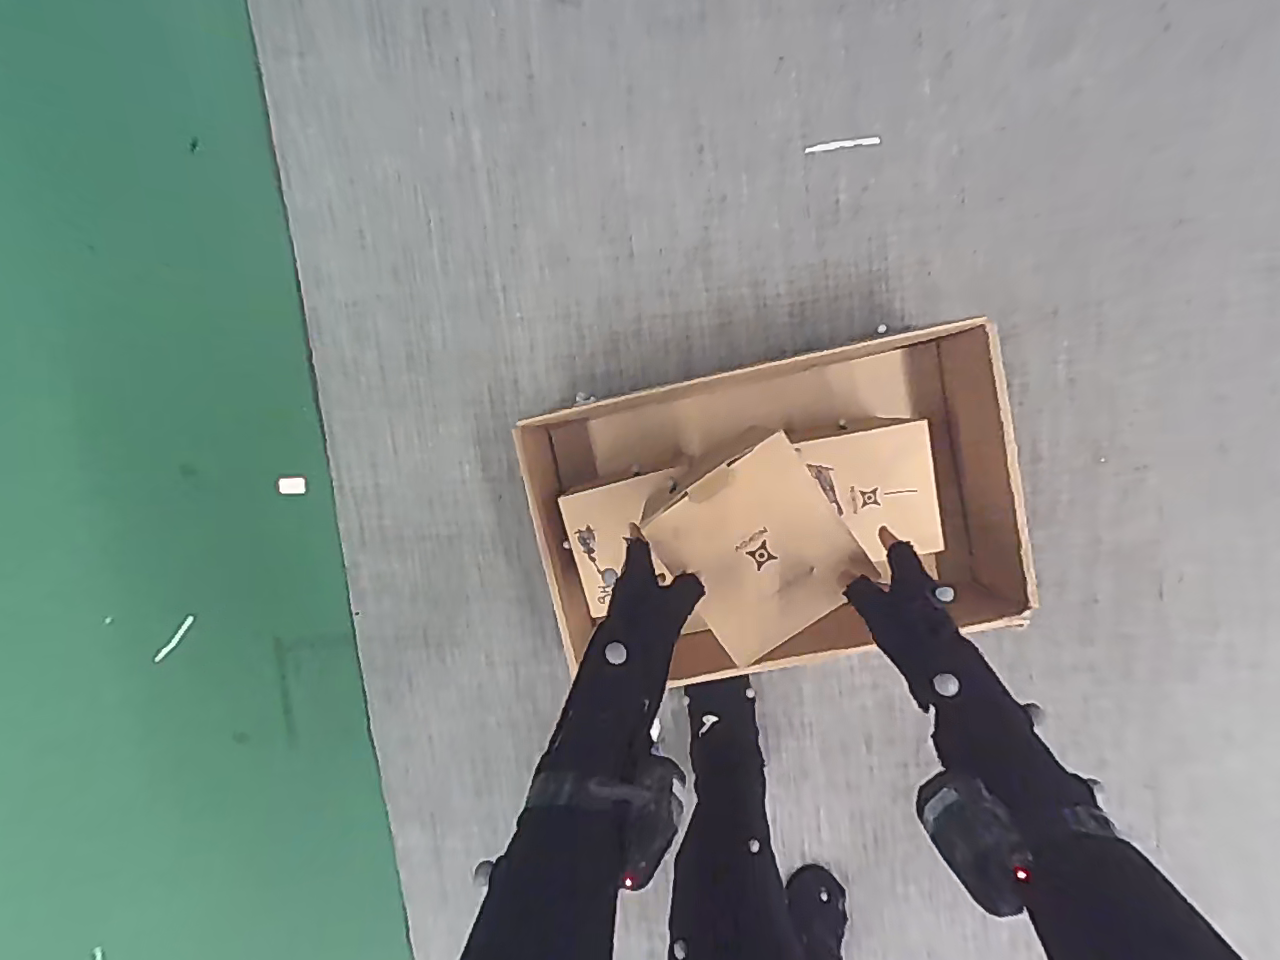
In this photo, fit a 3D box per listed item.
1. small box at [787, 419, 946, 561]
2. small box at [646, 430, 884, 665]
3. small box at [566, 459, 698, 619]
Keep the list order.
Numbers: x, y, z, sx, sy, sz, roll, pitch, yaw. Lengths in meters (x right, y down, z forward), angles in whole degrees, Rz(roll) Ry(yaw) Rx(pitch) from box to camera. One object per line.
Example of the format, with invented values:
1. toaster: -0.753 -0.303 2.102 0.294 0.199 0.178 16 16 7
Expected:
1. small box: 0.283 0.012 0.740 0.179 0.176 0.168 -10 97 6
2. small box: 0.122 0.060 0.596 0.168 0.176 0.179 -36 95 7
3. small box: 0.011 0.072 0.768 0.179 0.176 0.168 -16 95 4
